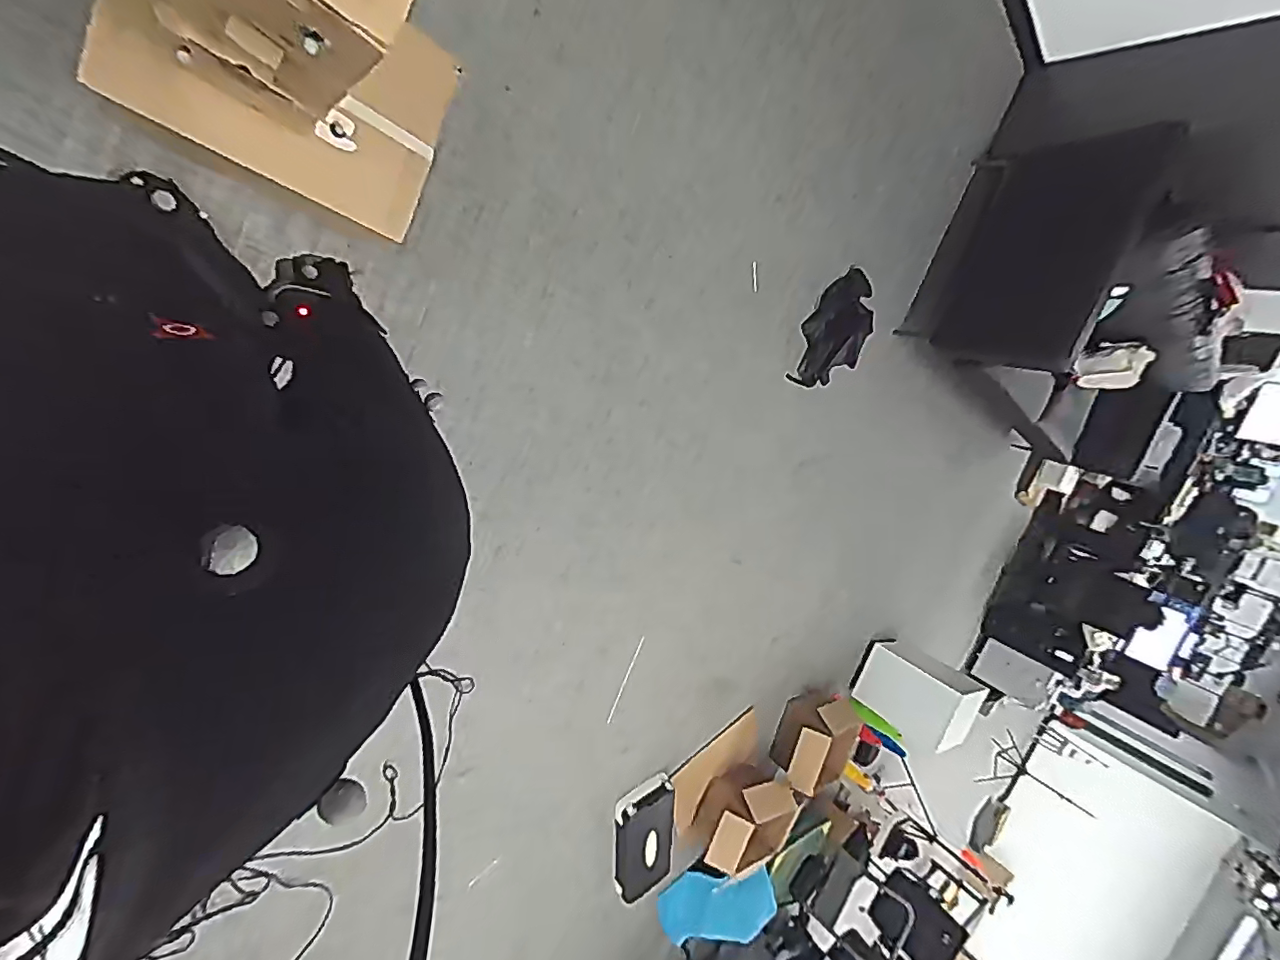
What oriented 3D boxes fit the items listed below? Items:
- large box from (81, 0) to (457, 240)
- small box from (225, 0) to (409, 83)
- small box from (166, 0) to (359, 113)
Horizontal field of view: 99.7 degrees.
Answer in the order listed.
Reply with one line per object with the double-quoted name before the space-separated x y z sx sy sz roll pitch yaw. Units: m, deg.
"large box" -0.588 -0.639 0.885 0.408 0.320 0.320 16 100 -44
"small box" -0.275 -0.470 0.438 0.168 0.176 0.179 21 95 -45
"small box" -0.368 -0.527 0.560 0.168 0.176 0.179 24 93 -44
